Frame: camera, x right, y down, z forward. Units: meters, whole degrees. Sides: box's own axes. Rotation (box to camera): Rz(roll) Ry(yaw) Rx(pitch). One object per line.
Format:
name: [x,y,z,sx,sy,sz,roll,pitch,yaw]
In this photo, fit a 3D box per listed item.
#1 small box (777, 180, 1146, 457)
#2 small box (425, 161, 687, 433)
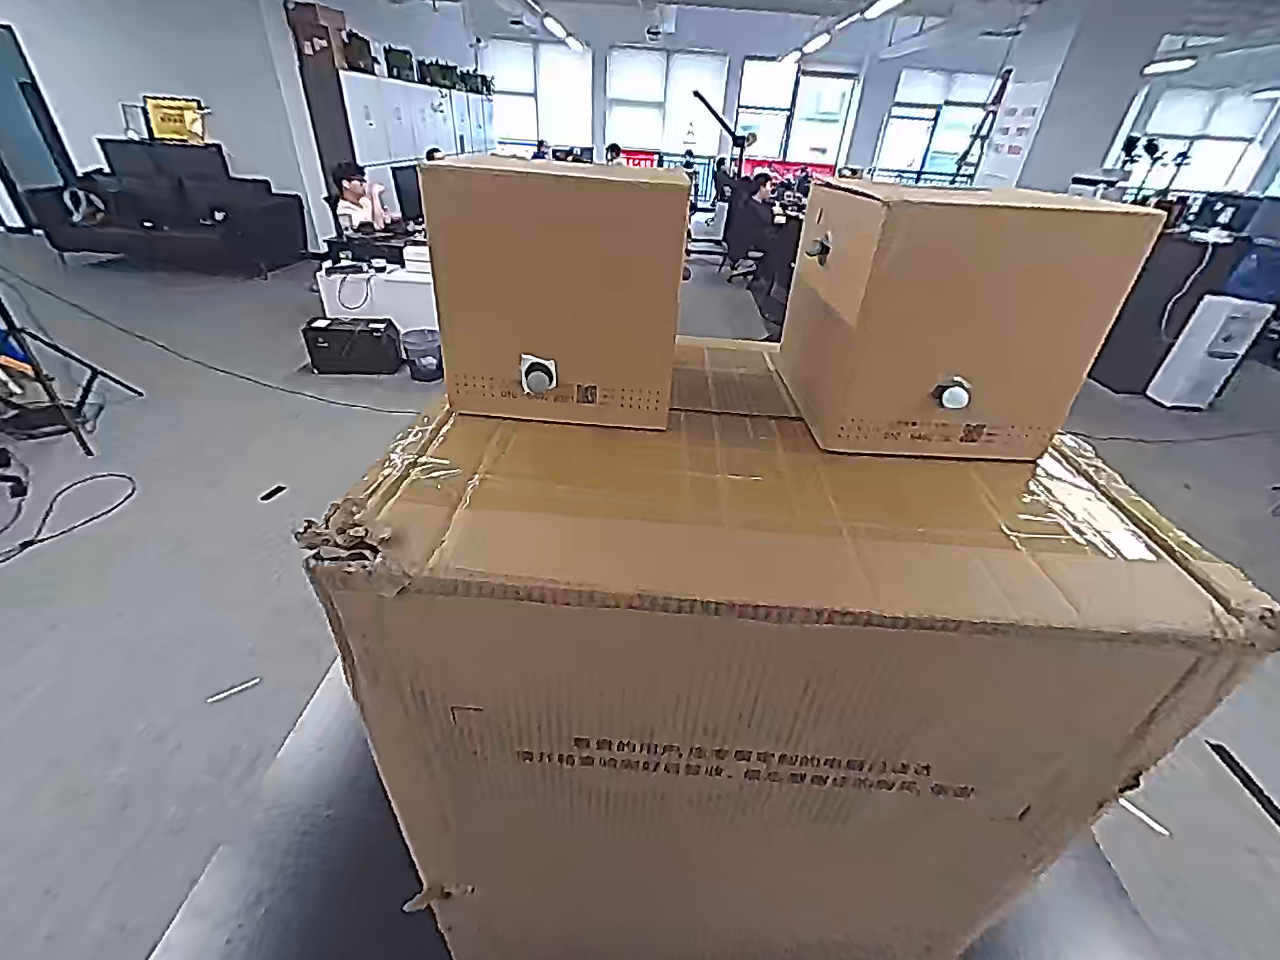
small box: [0.216,-0.134,0.431,0.168,0.176,0.179,2,33,0]
small box: [-0.055,-0.155,0.442,0.168,0.176,0.179,2,33,-1]
